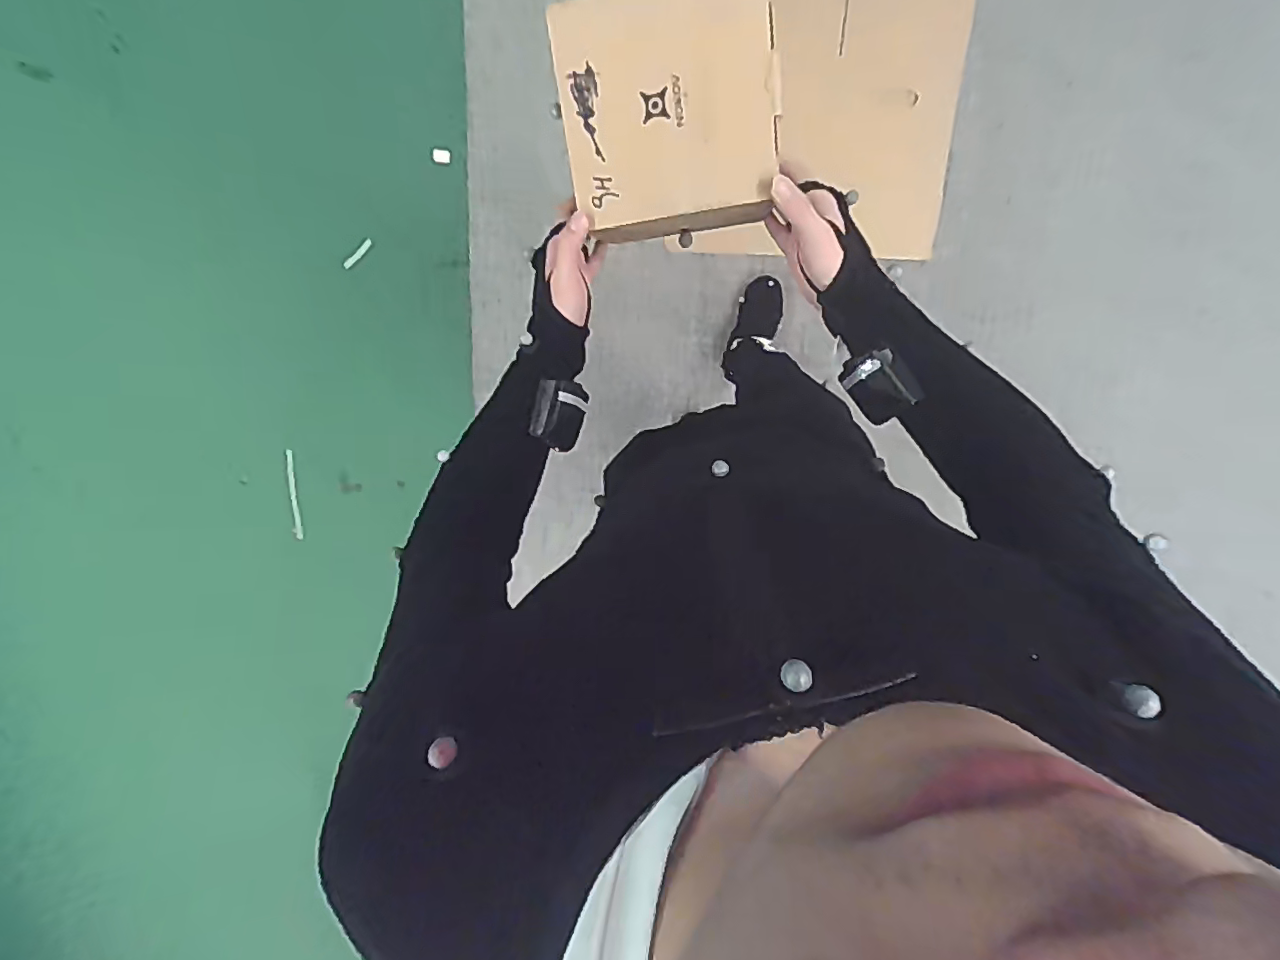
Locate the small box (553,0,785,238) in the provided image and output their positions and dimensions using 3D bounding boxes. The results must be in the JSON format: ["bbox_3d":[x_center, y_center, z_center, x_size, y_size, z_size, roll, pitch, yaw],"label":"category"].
[{"bbox_3d":[0.033,-0.334,0.513,0.179,0.176,0.168,-5,108,8],"label":"small box"}]
